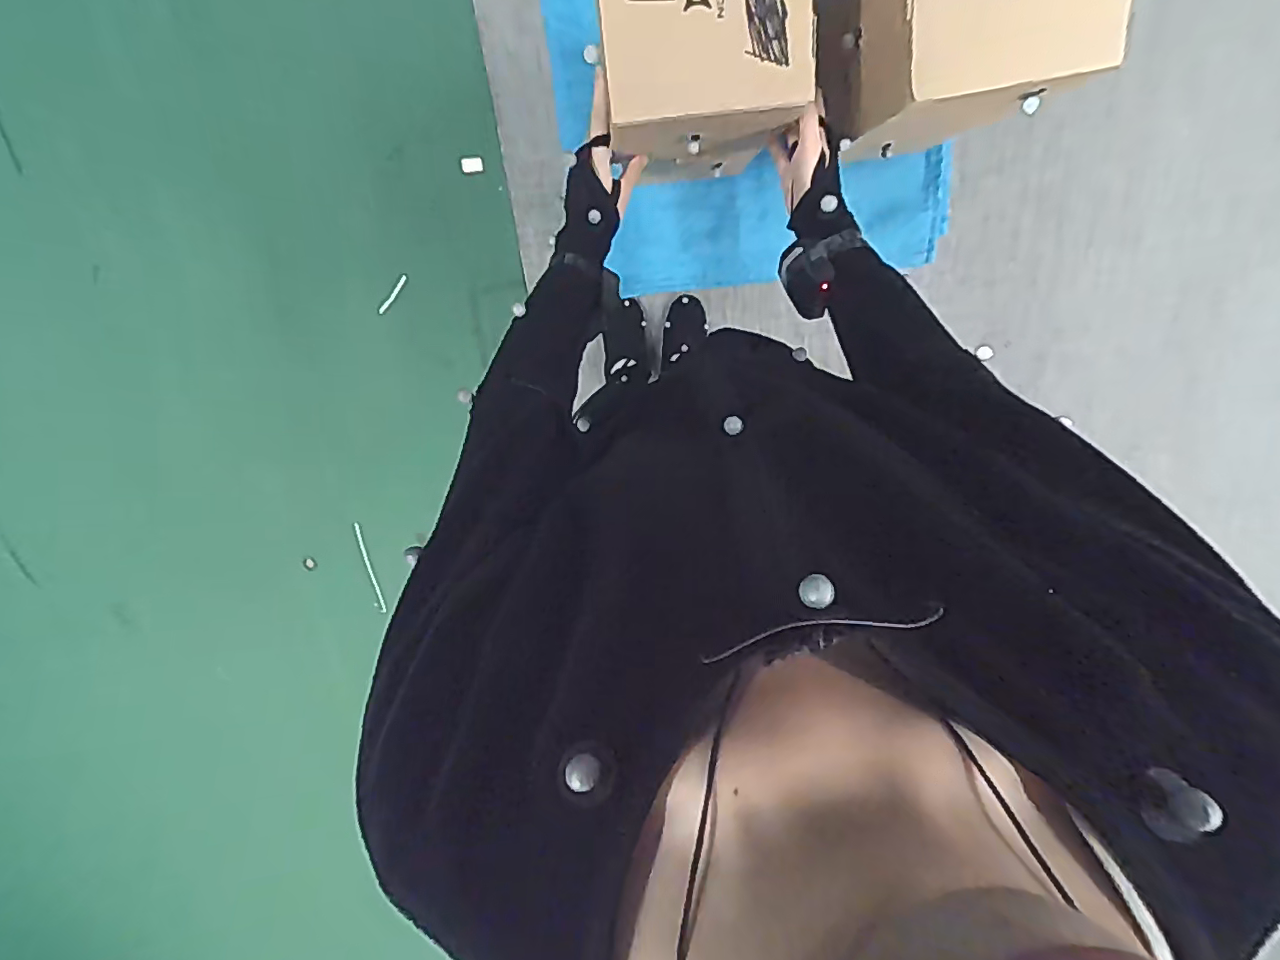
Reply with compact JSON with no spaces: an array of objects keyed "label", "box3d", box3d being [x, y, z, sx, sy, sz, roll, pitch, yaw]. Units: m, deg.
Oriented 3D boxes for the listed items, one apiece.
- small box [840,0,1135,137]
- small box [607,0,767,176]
[{"label":"small box","box3d":[0.297,-0.432,0.488,0.179,0.176,0.168,-7,110,3]},{"label":"small box","box3d":[0.051,-0.476,0.647,0.168,0.176,0.179,-6,110,0]}]
